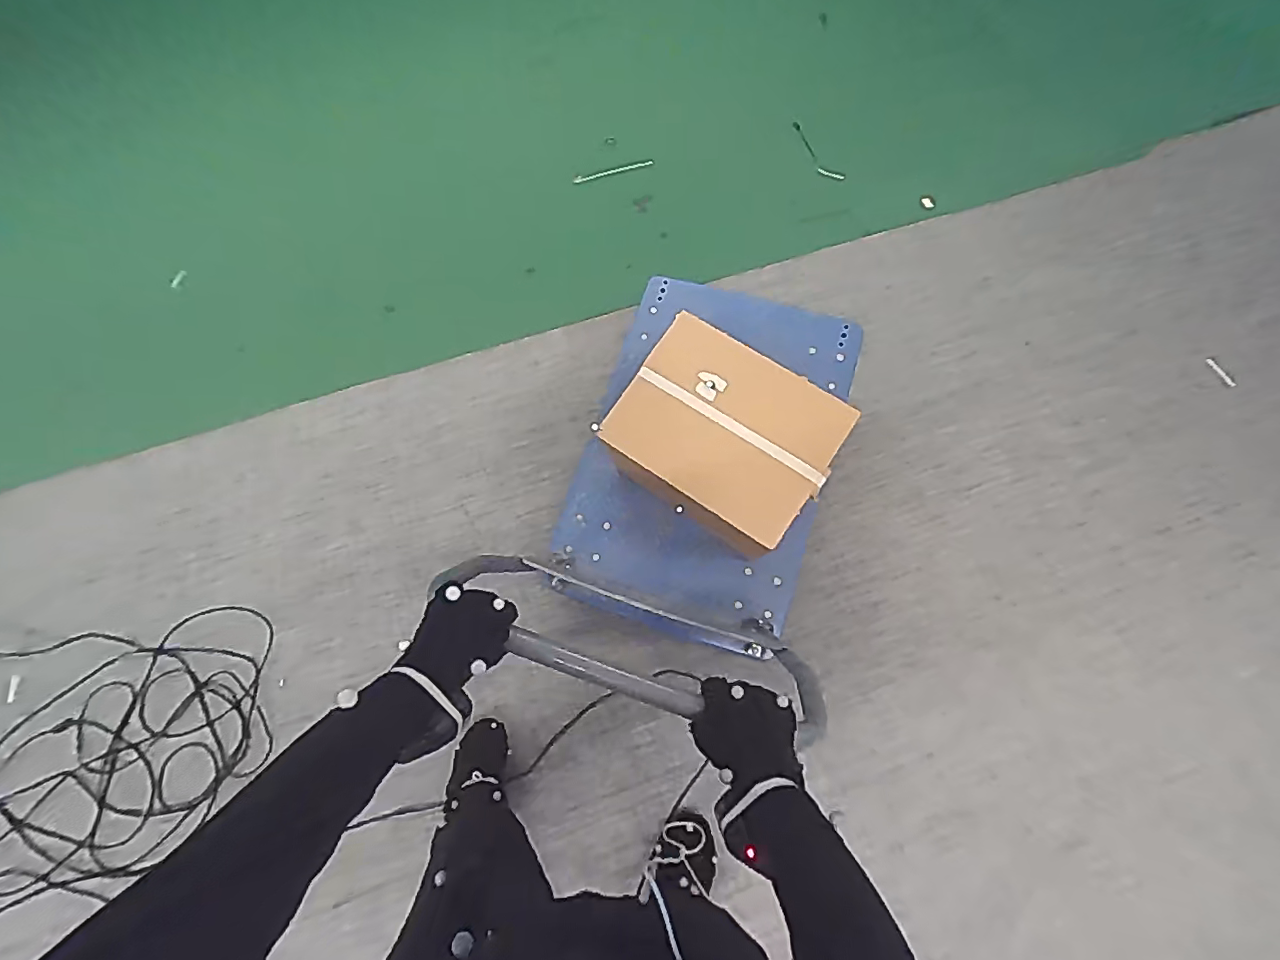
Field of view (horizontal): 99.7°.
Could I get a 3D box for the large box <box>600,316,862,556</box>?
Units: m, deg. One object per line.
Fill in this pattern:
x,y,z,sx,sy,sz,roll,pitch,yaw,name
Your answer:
0.187,-0.073,1.168,0.408,0.320,0.320,33,83,13,large box
